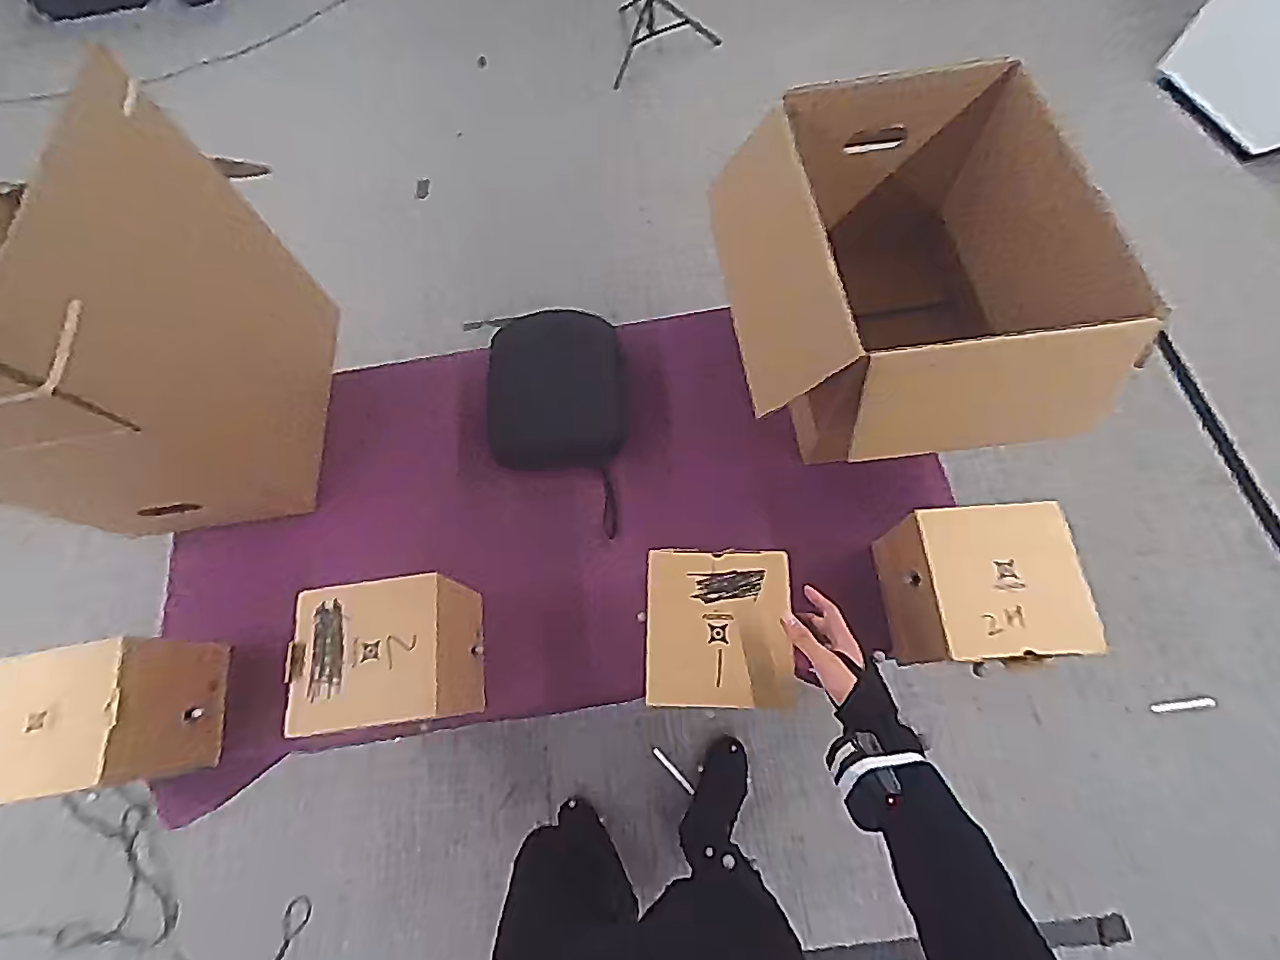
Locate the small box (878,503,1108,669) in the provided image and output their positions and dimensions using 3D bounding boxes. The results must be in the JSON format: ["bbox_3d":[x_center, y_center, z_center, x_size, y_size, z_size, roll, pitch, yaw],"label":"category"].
[{"bbox_3d":[0.421,0.141,0.684,0.168,0.176,0.179,-4,69,4],"label":"small box"}]

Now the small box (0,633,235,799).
[{"bbox_3d":[-0.686,0.306,0.708,0.179,0.176,0.168,-10,69,-1],"label":"small box"}]
